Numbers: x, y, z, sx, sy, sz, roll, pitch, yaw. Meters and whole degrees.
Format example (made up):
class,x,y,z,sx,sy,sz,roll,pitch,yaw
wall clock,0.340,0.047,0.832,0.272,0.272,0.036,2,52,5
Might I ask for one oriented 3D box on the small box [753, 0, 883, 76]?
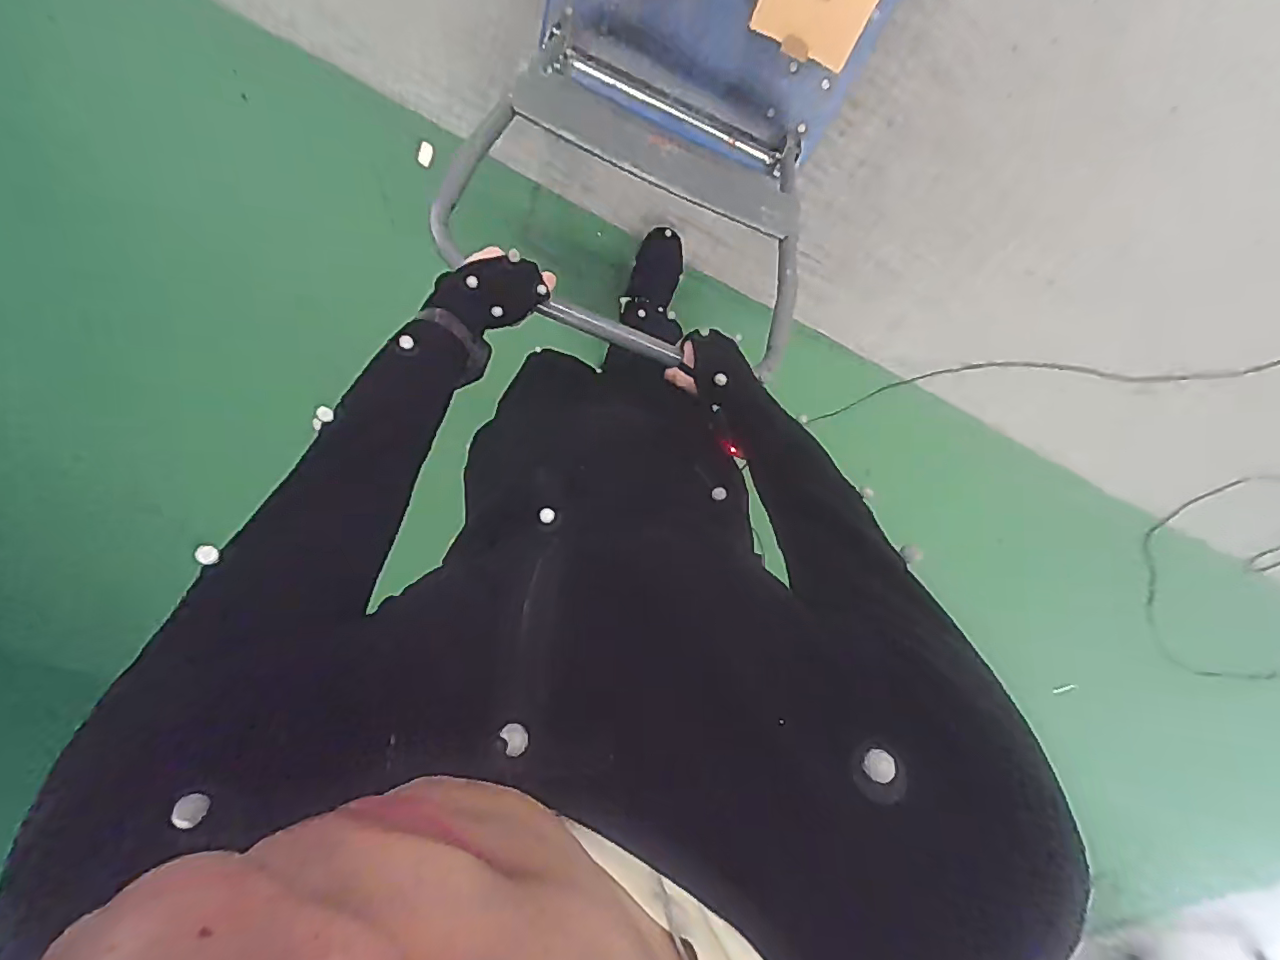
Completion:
class,x,y,z,sx,sy,sz,roll,pitch,yaw
small box,0.289,-0.787,0.842,0.168,0.176,0.179,20,141,-10
